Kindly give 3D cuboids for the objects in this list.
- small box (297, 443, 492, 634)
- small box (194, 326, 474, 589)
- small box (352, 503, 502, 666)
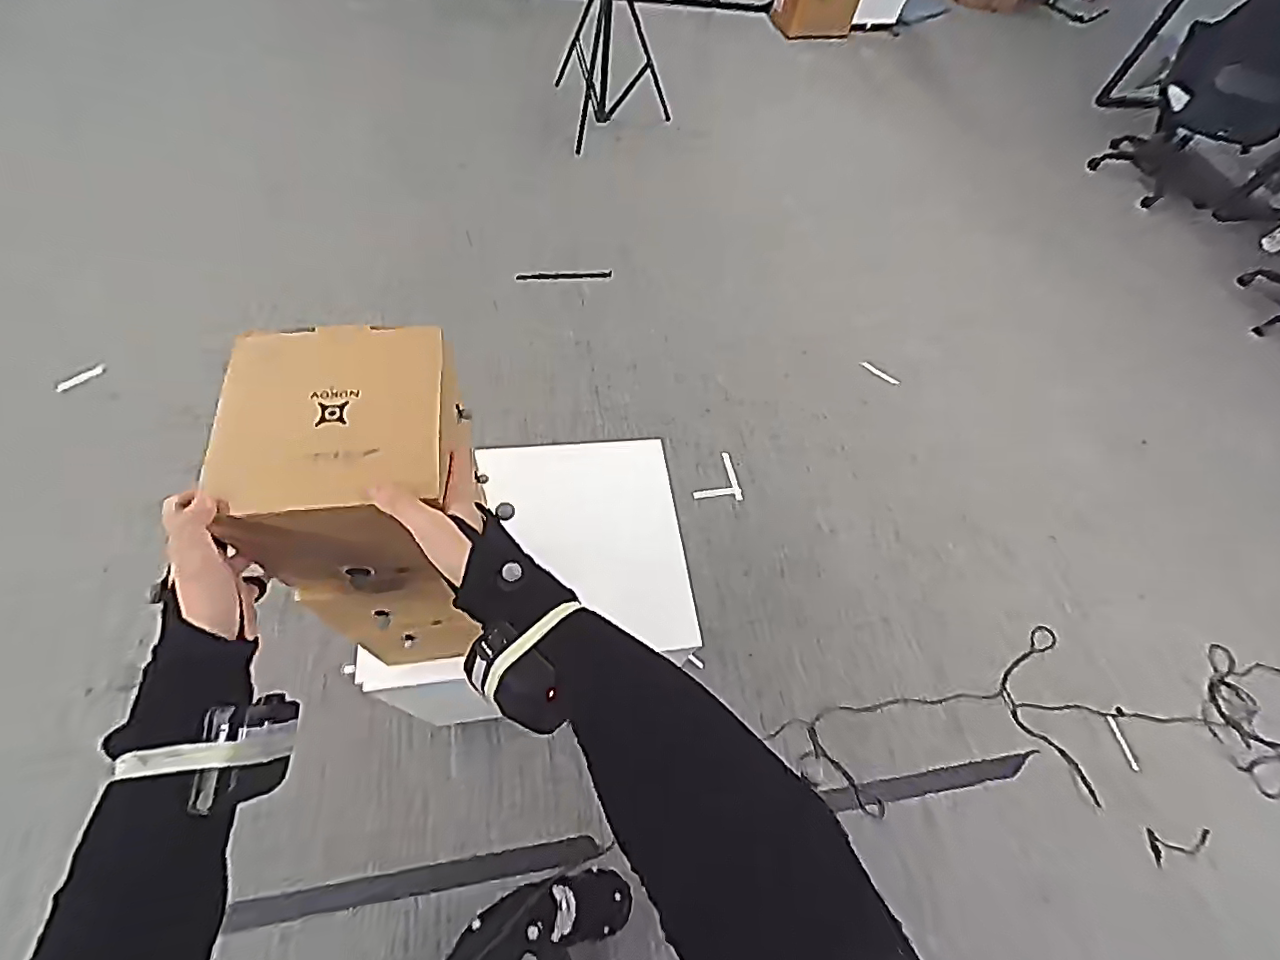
[{"bbox_3d":[-0.266,0.072,0.627,0.168,0.176,0.179,-5,62,-11],"label":"small box"},{"bbox_3d":[-0.247,-0.016,0.490,0.168,0.176,0.179,-5,63,-11],"label":"small box"},{"bbox_3d":[-0.288,0.149,0.769,0.168,0.176,0.179,-4,60,-11],"label":"small box"}]
